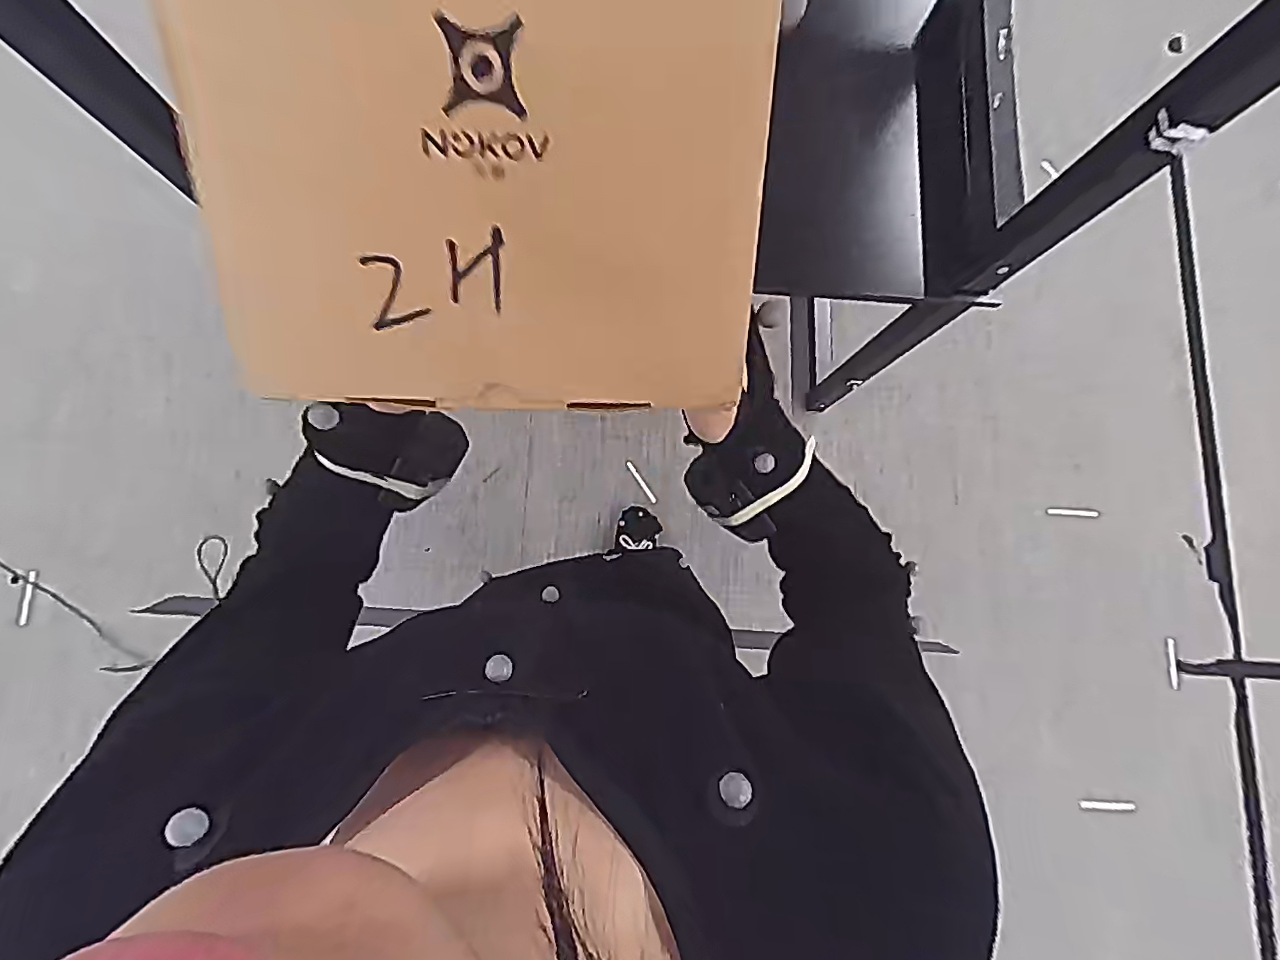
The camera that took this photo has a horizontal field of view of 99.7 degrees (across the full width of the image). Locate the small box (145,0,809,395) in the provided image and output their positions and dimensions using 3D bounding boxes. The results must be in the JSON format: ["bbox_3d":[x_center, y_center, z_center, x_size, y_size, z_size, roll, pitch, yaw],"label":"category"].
[{"bbox_3d":[-0.043,-0.139,0.215,0.168,0.176,0.179,1,112,-3],"label":"small box"}]
